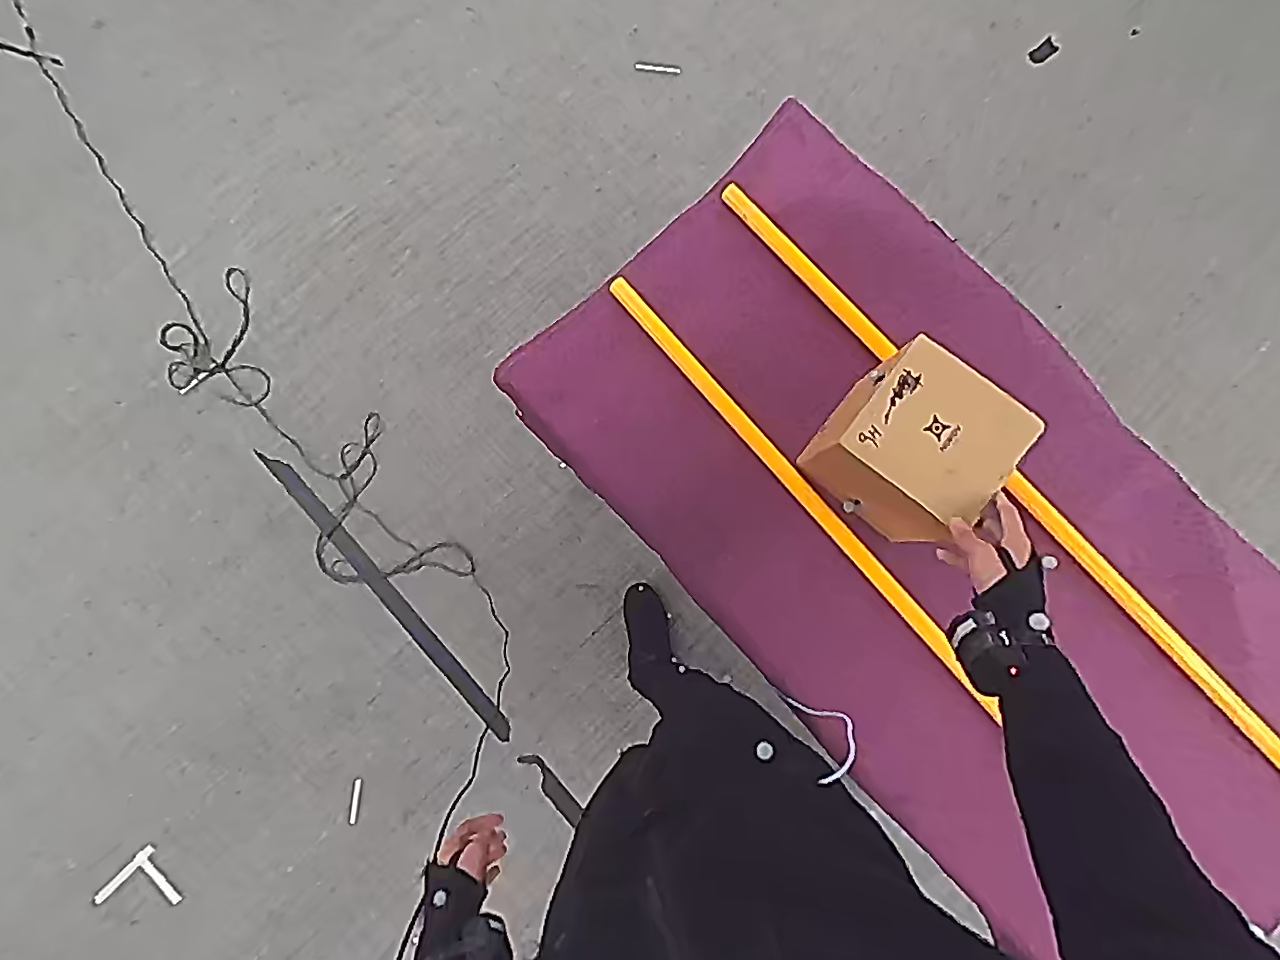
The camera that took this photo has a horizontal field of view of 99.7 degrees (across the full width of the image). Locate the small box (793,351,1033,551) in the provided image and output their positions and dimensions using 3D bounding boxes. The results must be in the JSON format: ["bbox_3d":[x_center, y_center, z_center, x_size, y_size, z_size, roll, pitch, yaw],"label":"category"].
[{"bbox_3d":[0.329,-0.028,0.690,0.179,0.176,0.168,39,84,3],"label":"small box"}]
